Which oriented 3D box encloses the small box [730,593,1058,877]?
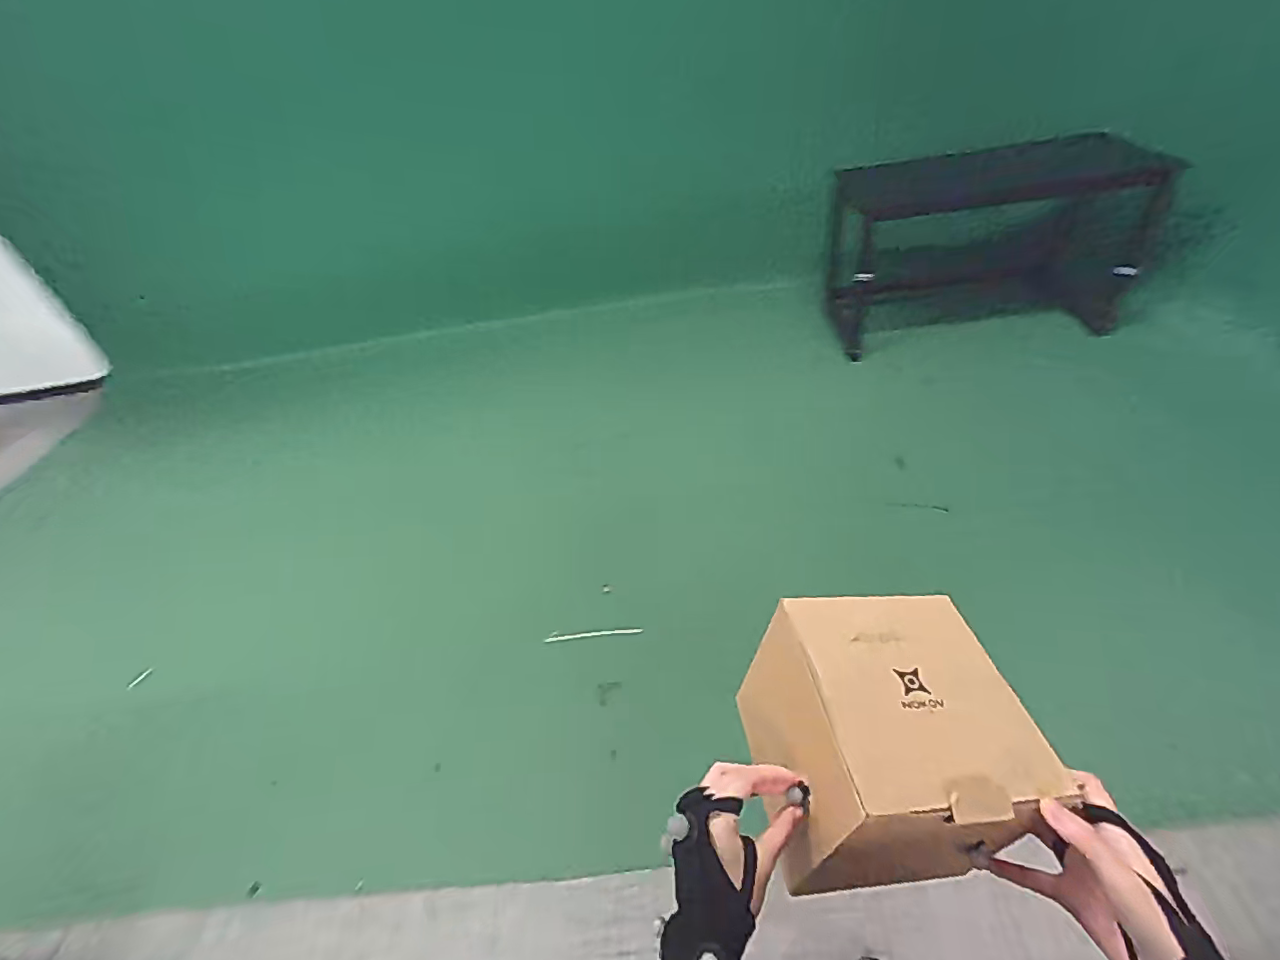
[{"bbox_3d":[0.193,0.221,0.475,0.168,0.176,0.179,1,38,-11],"label":"small box"}]
